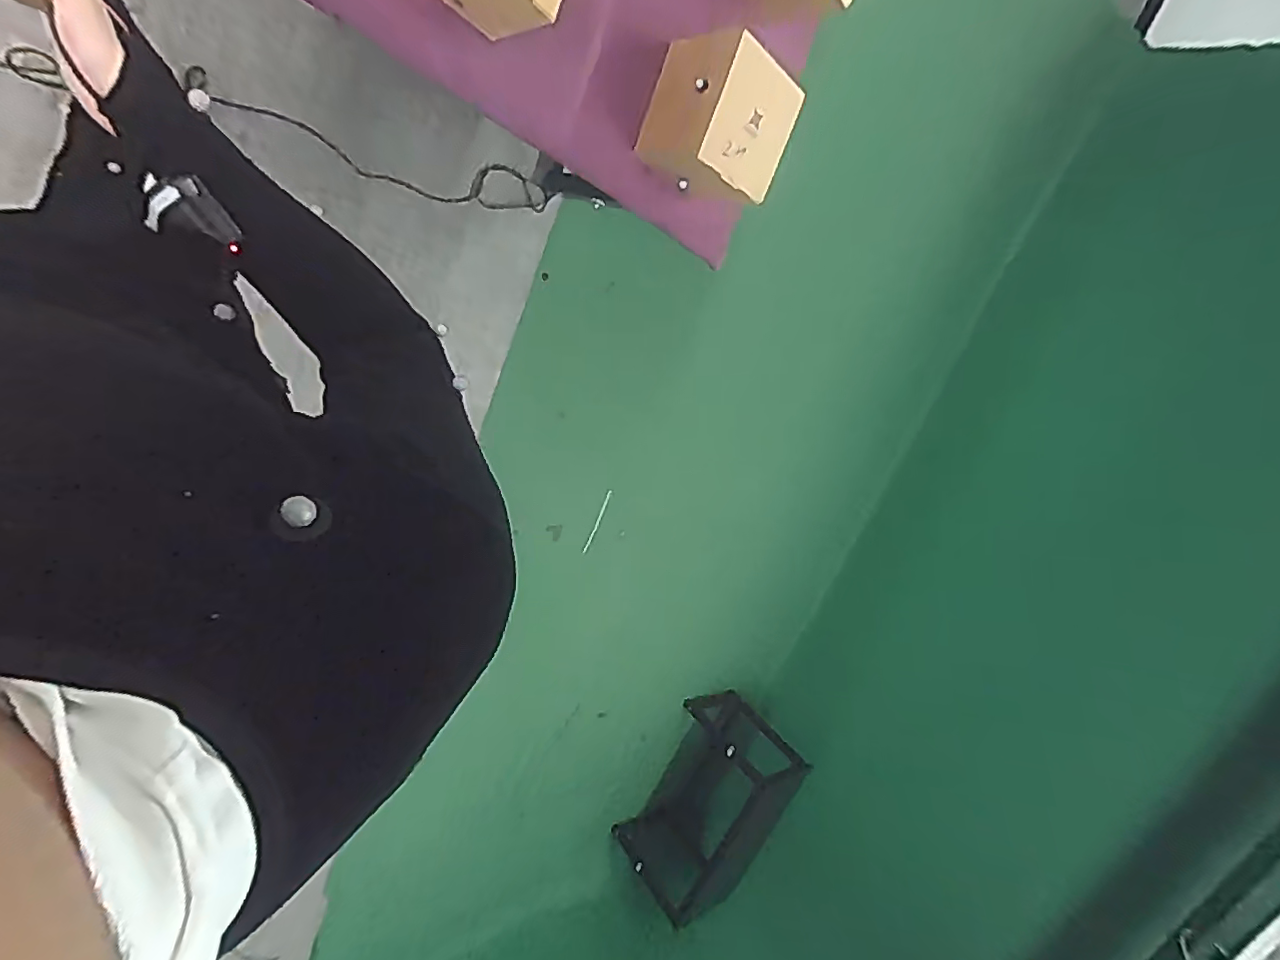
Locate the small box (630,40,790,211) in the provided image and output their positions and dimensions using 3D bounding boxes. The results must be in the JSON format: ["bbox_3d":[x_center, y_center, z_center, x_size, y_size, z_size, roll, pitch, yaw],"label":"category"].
[{"bbox_3d":[0.110,-0.581,0.900,0.168,0.176,0.179,8,112,-44],"label":"small box"}]

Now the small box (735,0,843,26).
[{"bbox_3d":[0.237,-0.850,0.831,0.168,0.176,0.179,10,111,-45],"label":"small box"}]
